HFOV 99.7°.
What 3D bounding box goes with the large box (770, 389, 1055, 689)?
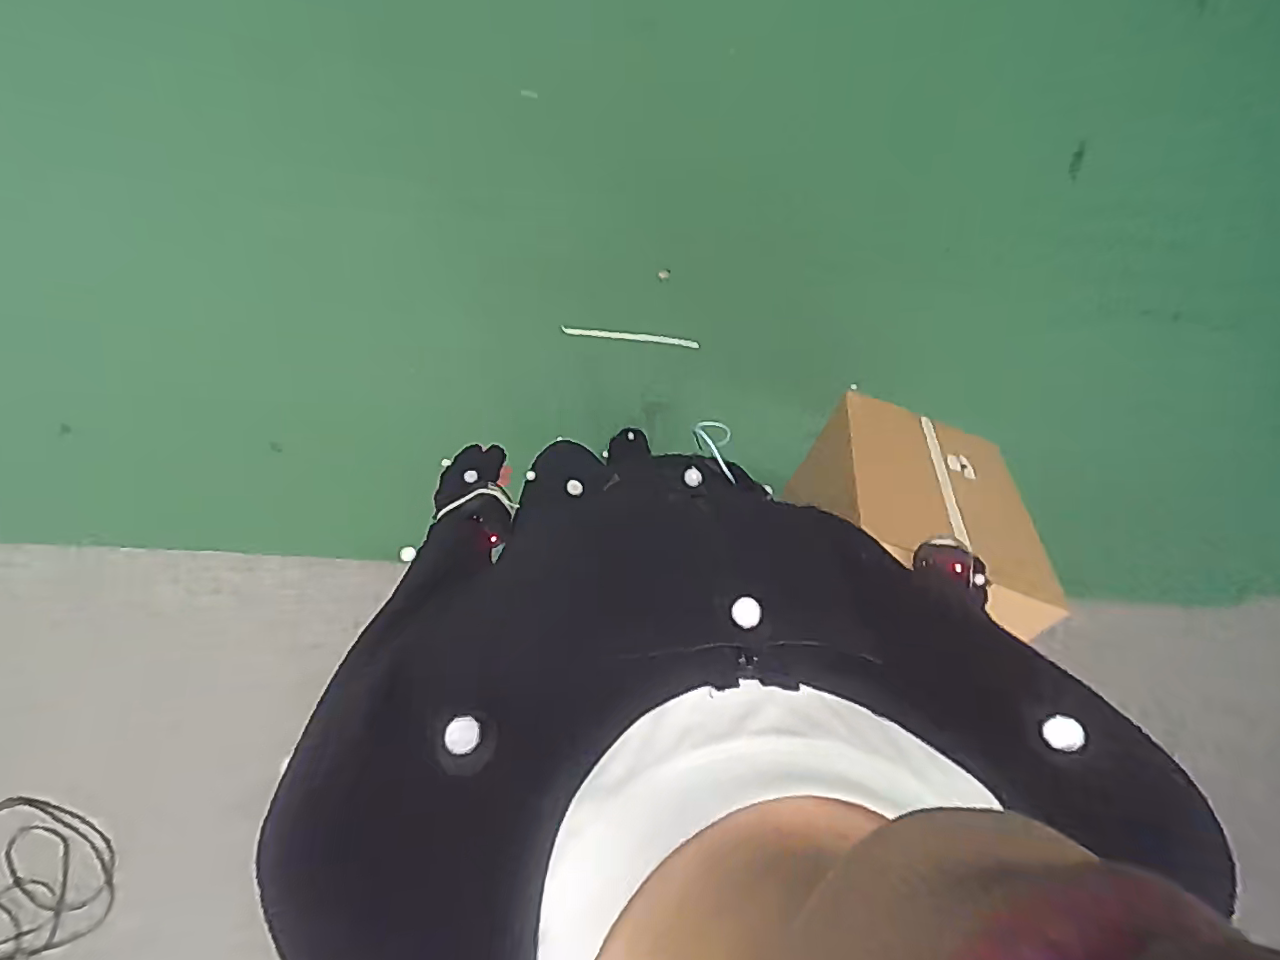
[{"bbox_3d":[0.451,0.101,1.007,0.320,0.408,0.320,21,131,-1],"label":"large box"}]
